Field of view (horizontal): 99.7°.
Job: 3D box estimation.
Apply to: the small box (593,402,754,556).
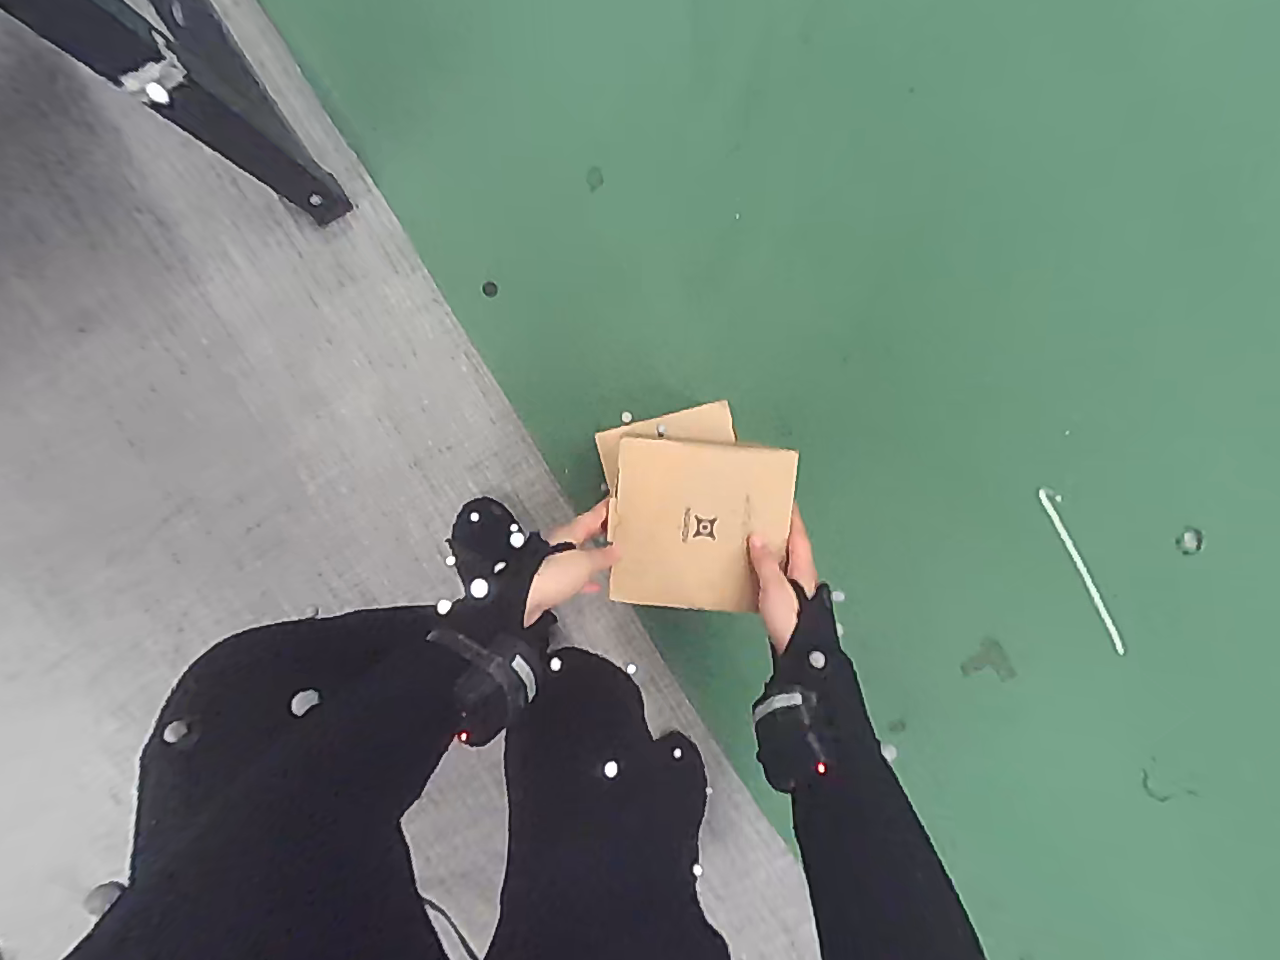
[{"bbox_3d":[0.043,-0.007,0.759,0.179,0.176,0.168,-14,97,0],"label":"small box"}]
